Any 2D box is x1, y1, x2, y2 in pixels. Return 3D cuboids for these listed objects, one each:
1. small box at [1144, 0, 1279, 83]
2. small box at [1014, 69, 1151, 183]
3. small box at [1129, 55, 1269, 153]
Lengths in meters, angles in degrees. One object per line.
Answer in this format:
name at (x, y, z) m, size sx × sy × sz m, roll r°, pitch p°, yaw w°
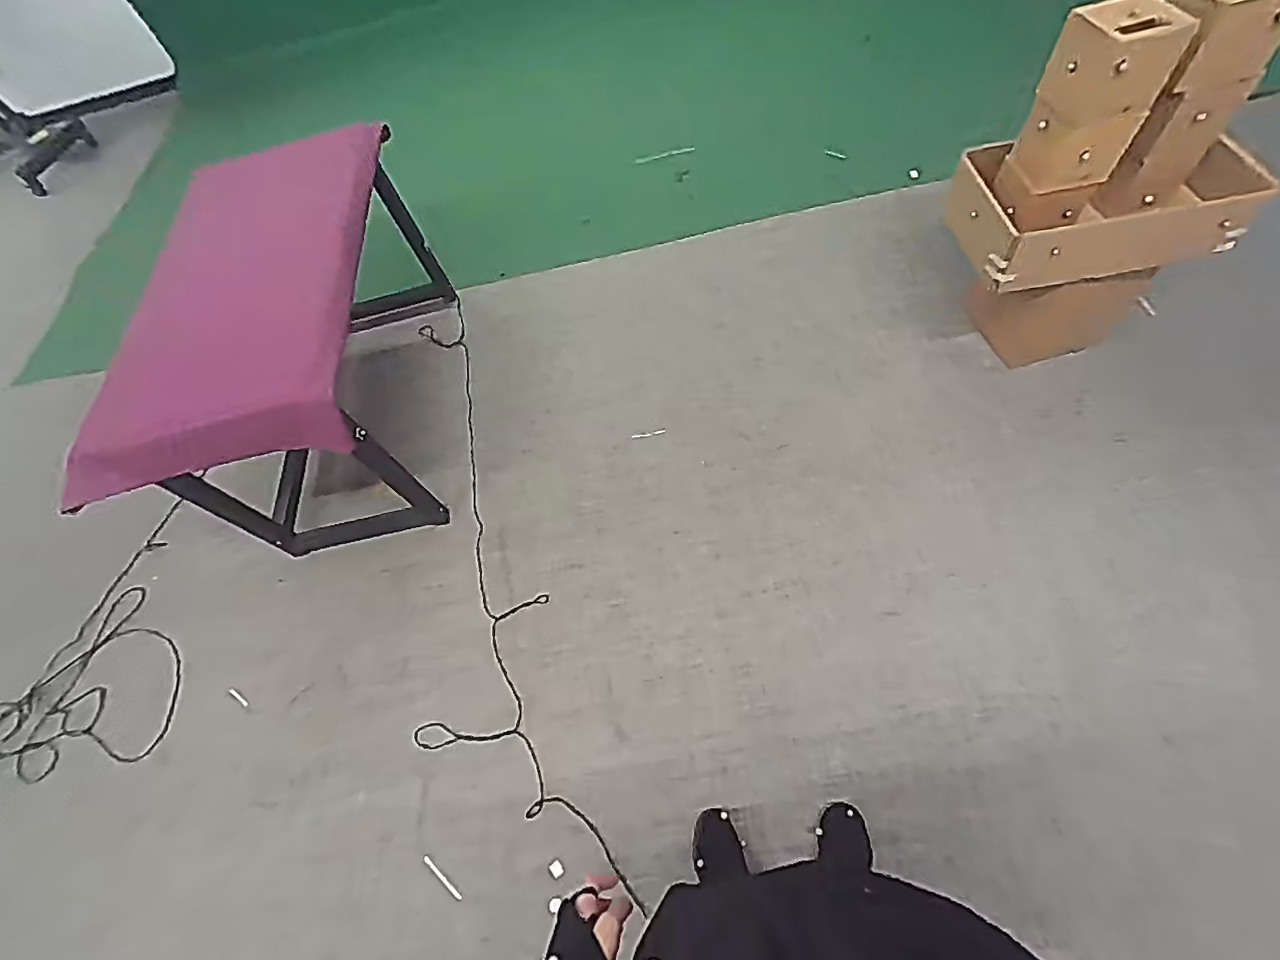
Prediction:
small box at (1.276, -1.012, 1.179) m, size 0.179 × 0.176 × 0.168 m, roll -8°, pitch 60°, yaw 8°
small box at (1.071, -0.857, 1.328) m, size 0.168 × 0.176 × 0.179 m, roll -10°, pitch 60°, yaw 4°
small box at (1.324, -0.938, 1.320) m, size 0.179 × 0.176 × 0.168 m, roll -15°, pitch 60°, yaw 5°
